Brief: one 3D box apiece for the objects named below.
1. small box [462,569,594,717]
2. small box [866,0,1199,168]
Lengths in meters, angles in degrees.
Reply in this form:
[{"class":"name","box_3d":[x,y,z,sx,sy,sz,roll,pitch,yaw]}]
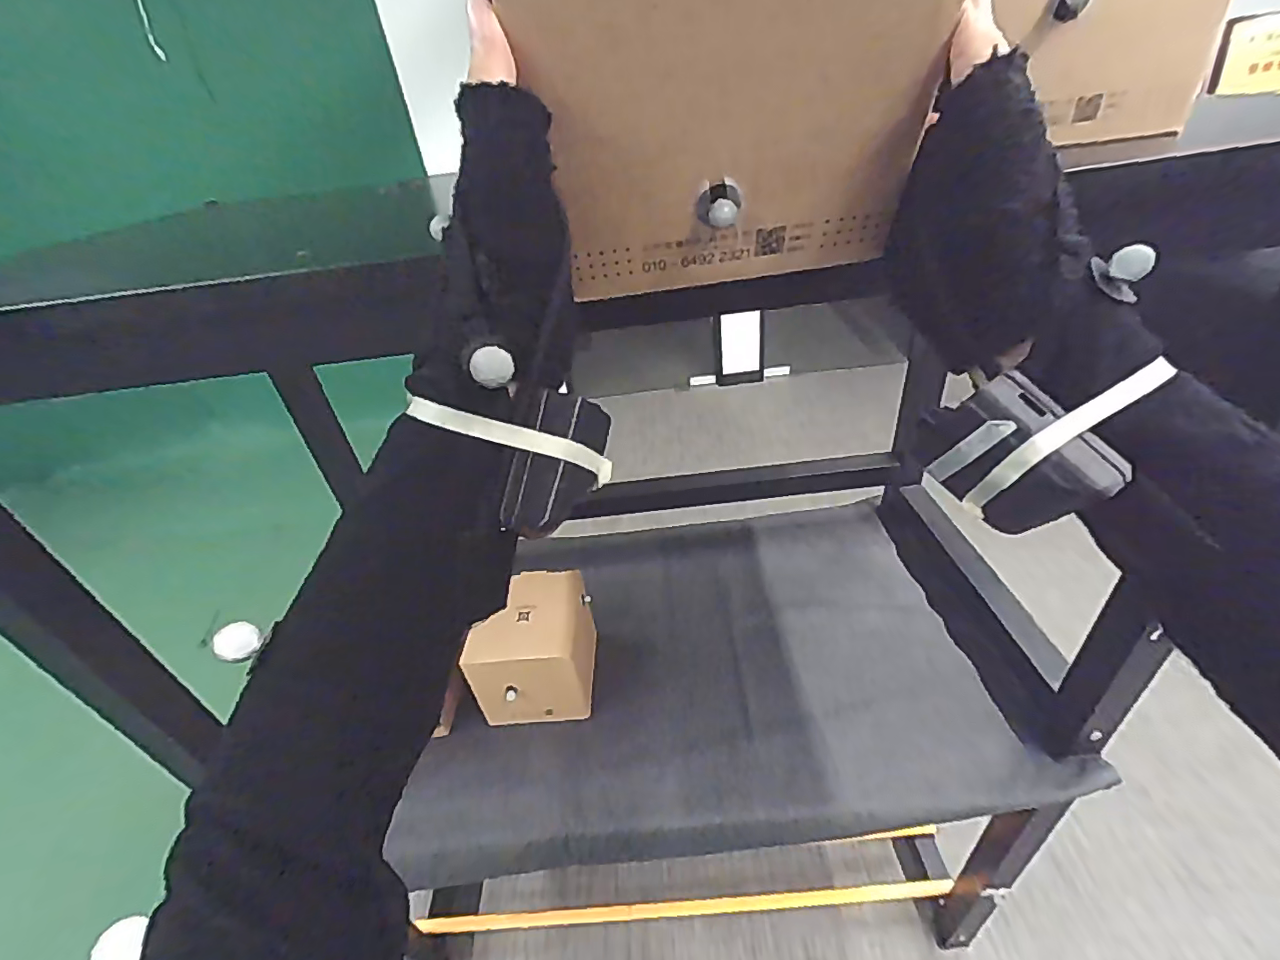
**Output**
[{"class":"small box","box_3d":[-0.172,0.275,0.898,0.168,0.176,0.179,-5,34,3]},{"class":"small box","box_3d":[0.274,-0.339,0.401,0.168,0.176,0.179,0,35,12]}]
